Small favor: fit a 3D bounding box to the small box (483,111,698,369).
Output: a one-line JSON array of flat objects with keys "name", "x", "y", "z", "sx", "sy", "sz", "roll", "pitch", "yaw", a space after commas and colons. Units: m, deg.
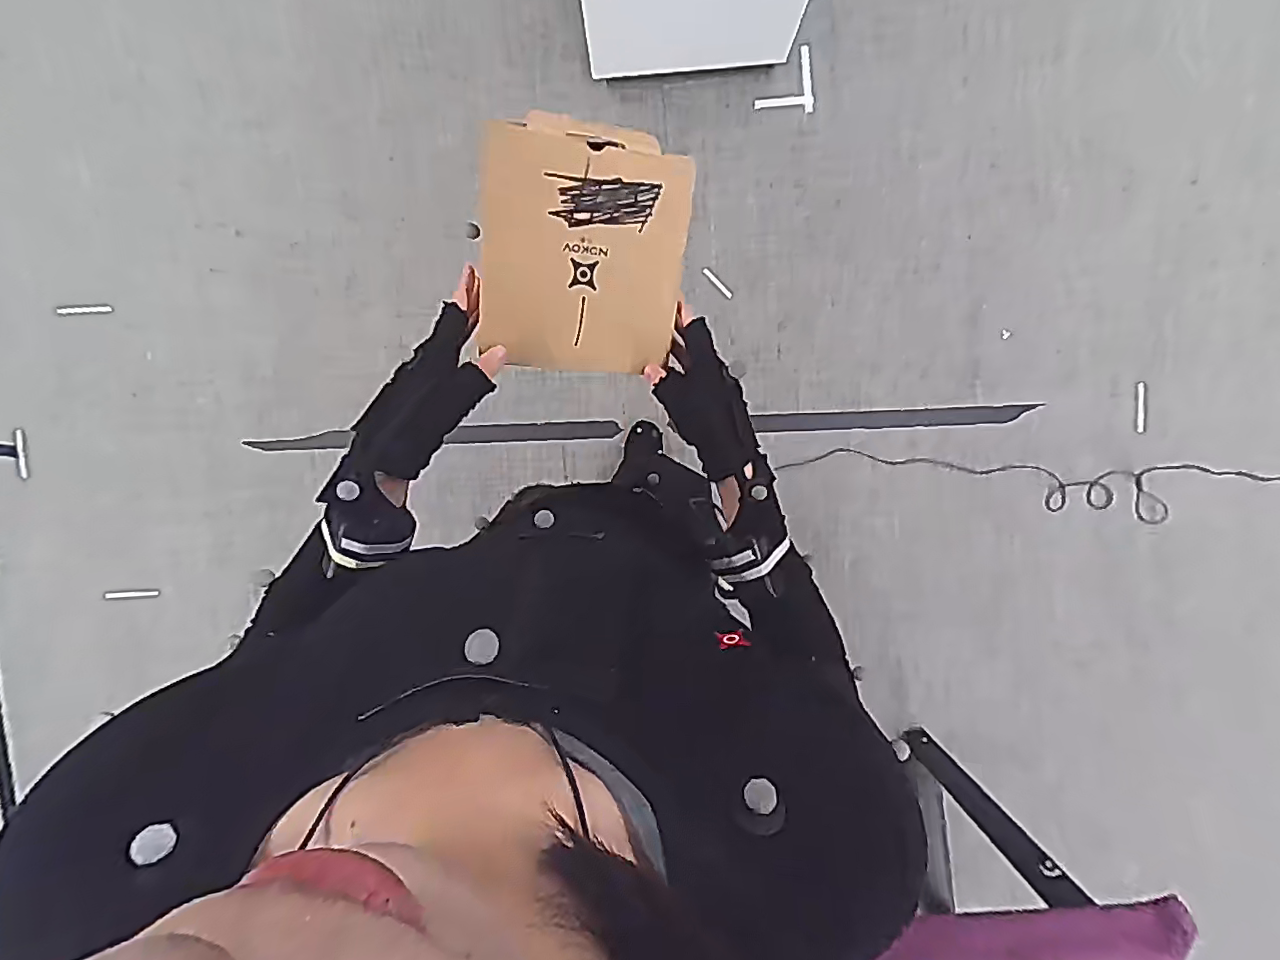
[{"name": "small box", "x": -0.060, "y": -0.211, "z": 0.504, "sx": 0.168, "sy": 0.176, "sz": 0.179, "roll": 0, "pitch": 113, "yaw": -15}]
